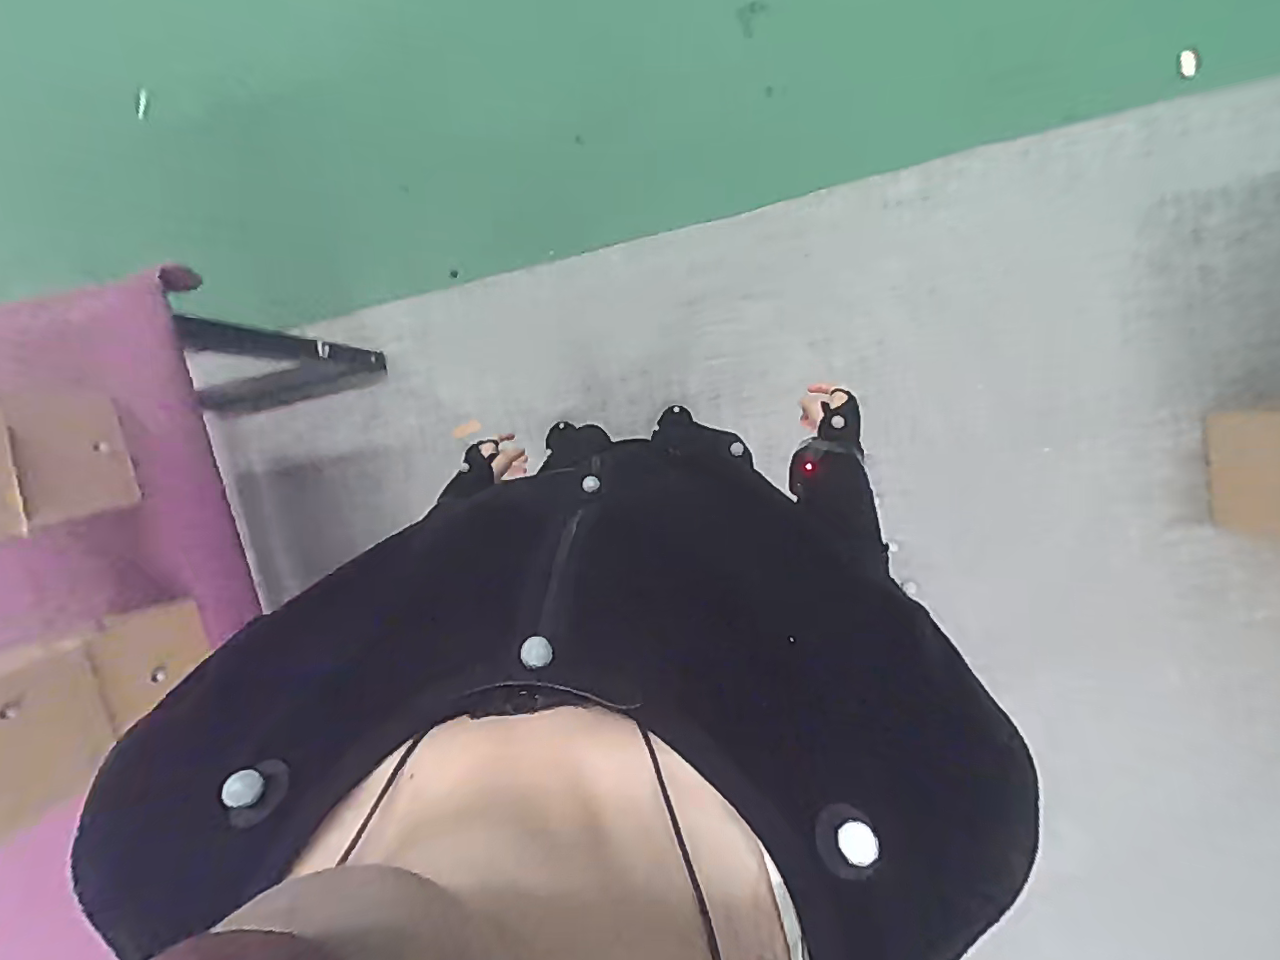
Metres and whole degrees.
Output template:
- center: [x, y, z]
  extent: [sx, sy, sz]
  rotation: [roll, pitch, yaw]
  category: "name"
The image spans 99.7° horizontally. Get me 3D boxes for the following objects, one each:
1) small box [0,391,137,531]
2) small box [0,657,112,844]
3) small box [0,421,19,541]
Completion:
- center: [-0.880, -0.020, 0.764]
  extent: [0.168, 0.176, 0.179]
  rotation: [-12, 95, 8]
  category: "small box"
- center: [-0.783, 0.321, 0.624]
  extent: [0.168, 0.176, 0.179]
  rotation: [-11, 96, 8]
  category: "small box"
- center: [-0.876, 0.008, 0.602]
  extent: [0.179, 0.176, 0.168]
  rotation: [-4, 96, 6]
  category: "small box"
